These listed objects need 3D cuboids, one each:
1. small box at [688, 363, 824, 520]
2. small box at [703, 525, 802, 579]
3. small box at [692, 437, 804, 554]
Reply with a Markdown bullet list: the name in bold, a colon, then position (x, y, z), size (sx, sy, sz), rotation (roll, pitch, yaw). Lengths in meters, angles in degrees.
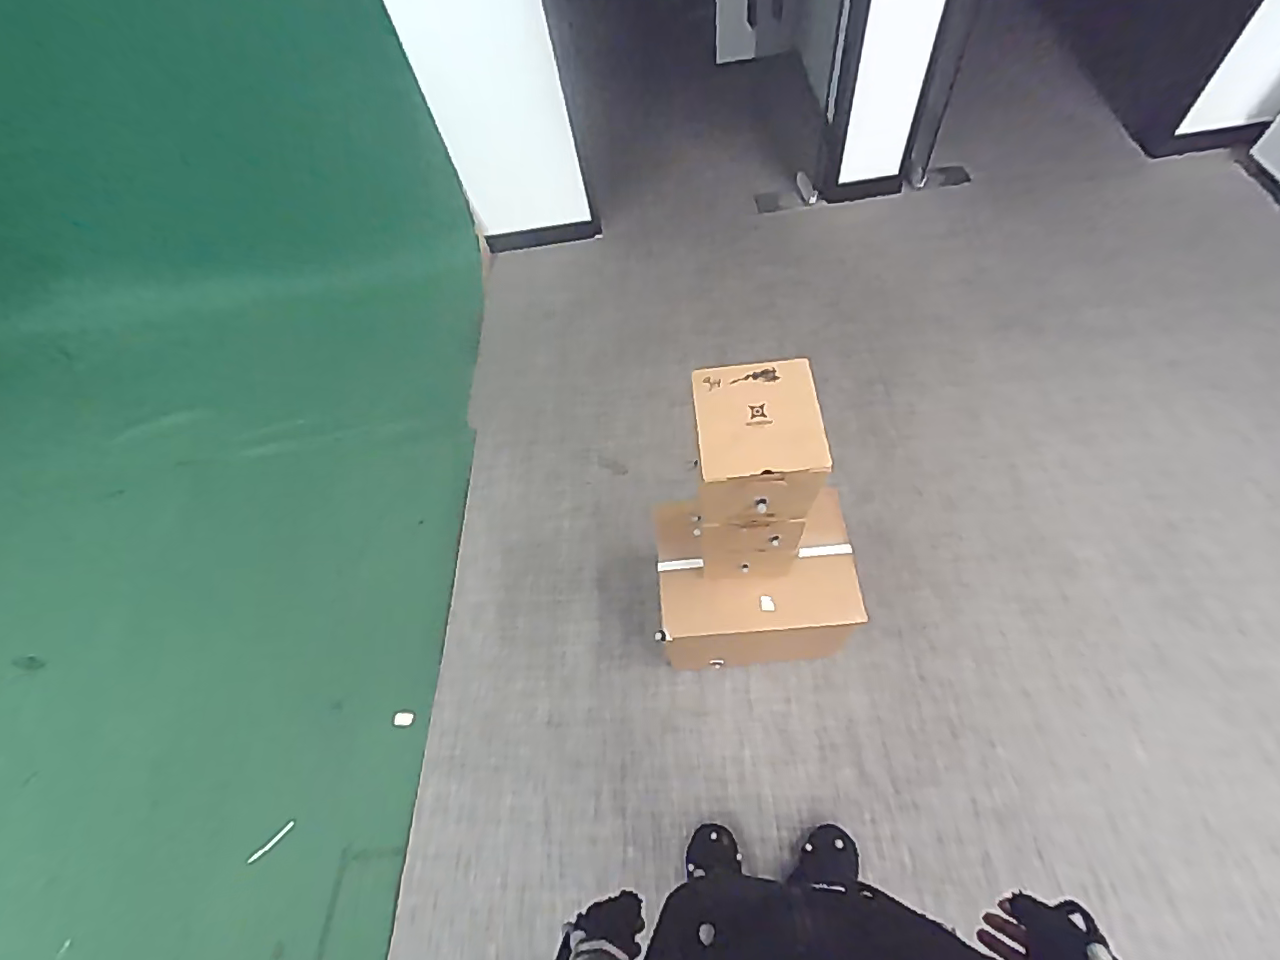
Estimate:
- **small box**: position (0.163, -0.046, 0.803), size (0.168, 0.176, 0.179), rotation (-6, 66, 5)
- **small box**: position (0.214, 0.097, 1.091), size (0.179, 0.176, 0.168), rotation (-6, 65, 5)
- **small box**: position (0.183, 0.026, 0.949), size (0.168, 0.176, 0.179), rotation (-5, 64, 5)
